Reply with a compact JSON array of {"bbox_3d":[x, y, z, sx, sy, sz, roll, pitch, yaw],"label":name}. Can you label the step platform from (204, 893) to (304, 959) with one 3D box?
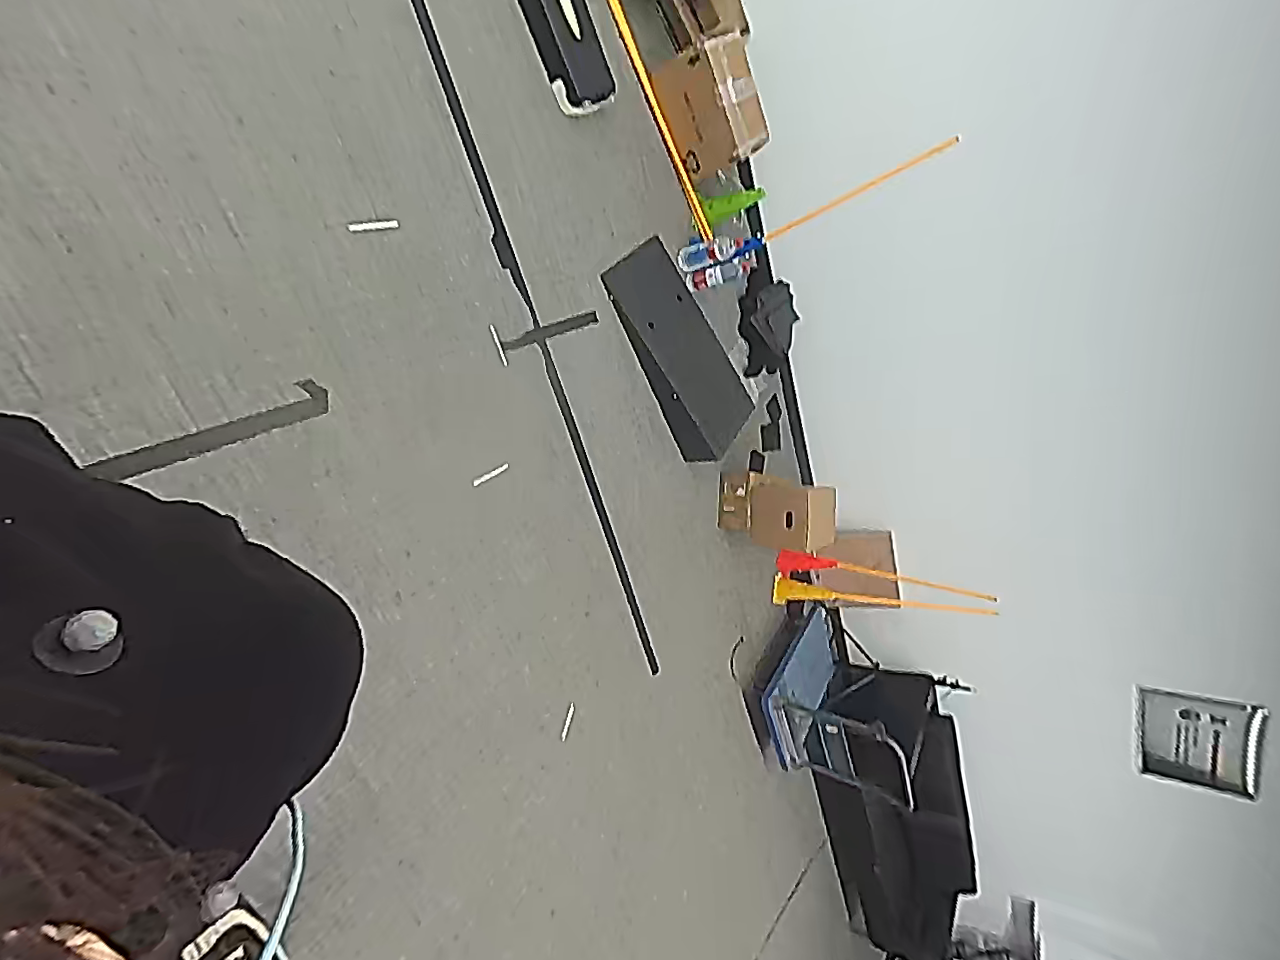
[{"bbox_3d":[-1.005,1.191,1.010,0.684,0.204,0.286,-29,111,-48],"label":"step platform"}]
